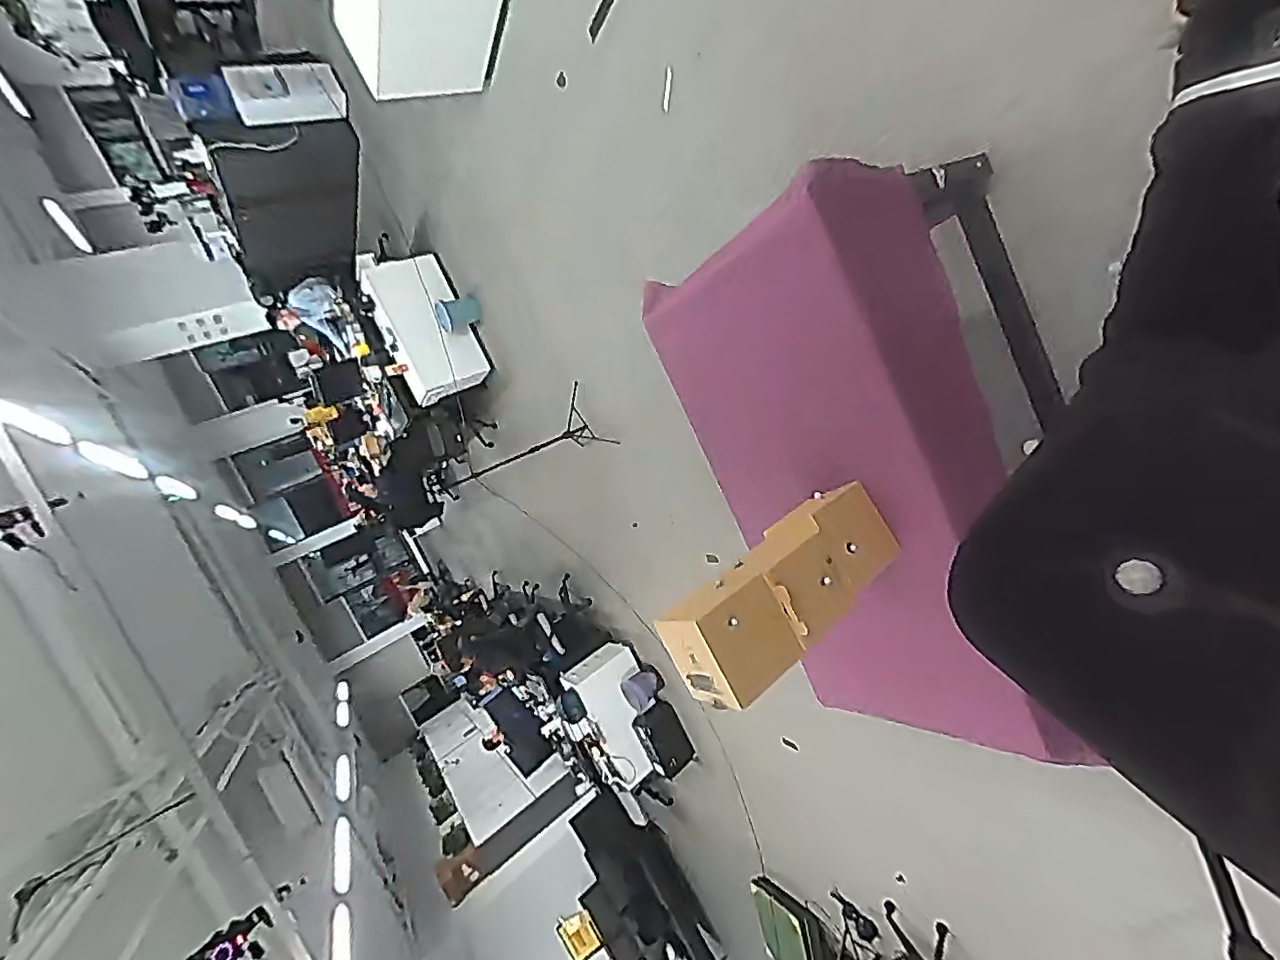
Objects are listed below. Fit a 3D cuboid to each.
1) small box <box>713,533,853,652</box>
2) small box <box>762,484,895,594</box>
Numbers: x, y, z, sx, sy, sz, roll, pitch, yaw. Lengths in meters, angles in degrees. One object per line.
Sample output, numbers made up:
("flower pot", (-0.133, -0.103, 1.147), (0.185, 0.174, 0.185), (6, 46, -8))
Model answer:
("small box", (0.287, 0.223, 1.090), (0.168, 0.176, 0.179), (61, 151, -1))
("small box", (0.407, 0.134, 1.162), (0.179, 0.176, 0.168), (60, 151, 4))
